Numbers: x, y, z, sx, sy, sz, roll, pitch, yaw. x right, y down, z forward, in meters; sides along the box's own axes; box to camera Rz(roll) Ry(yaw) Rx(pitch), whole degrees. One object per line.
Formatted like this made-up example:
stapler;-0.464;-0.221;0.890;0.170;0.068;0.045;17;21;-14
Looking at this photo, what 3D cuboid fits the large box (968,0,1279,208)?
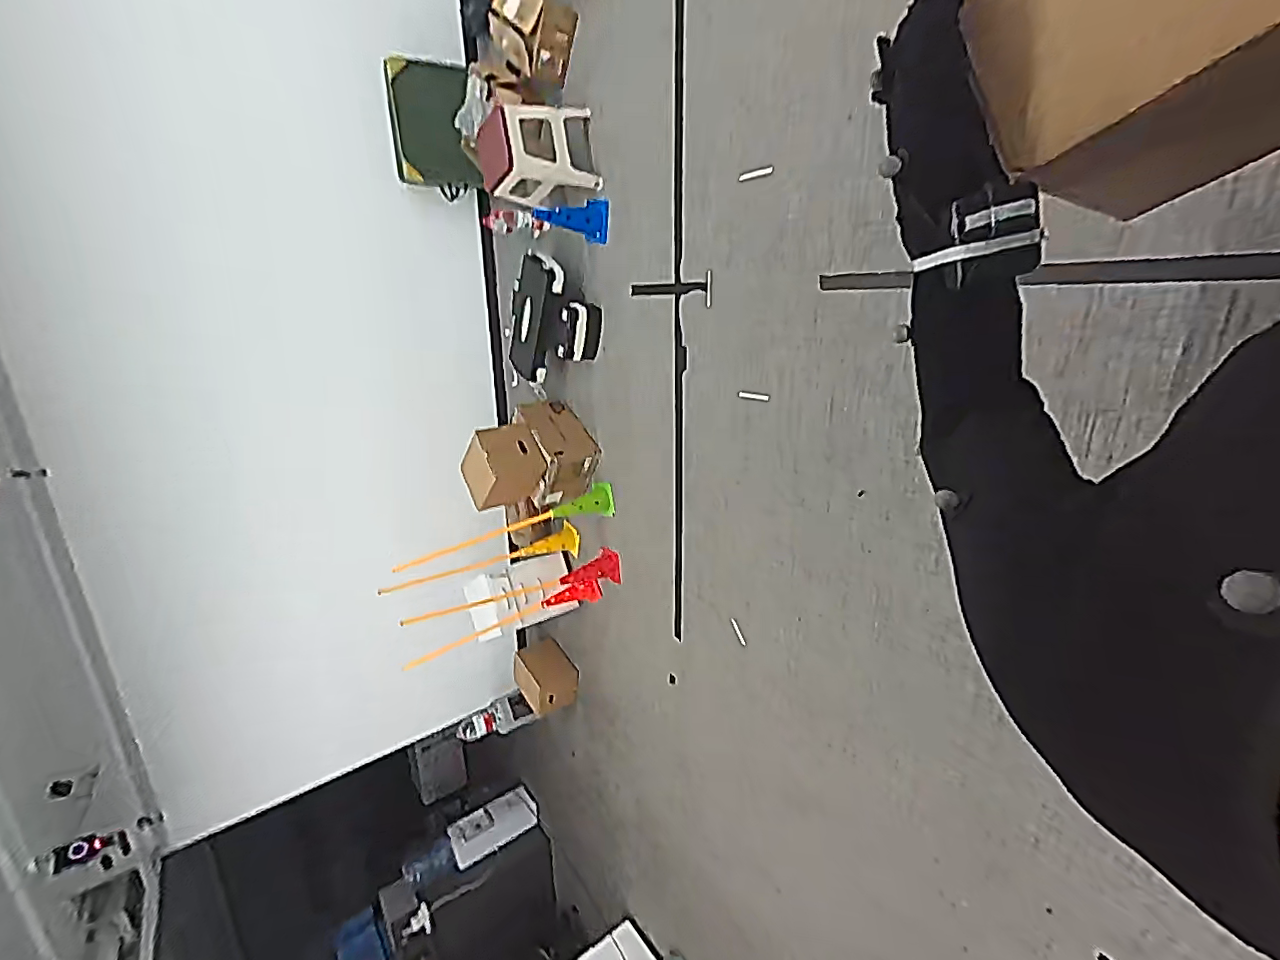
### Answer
large box;0.460;-0.441;0.327;0.408;0.320;0.320;-21;84;54
